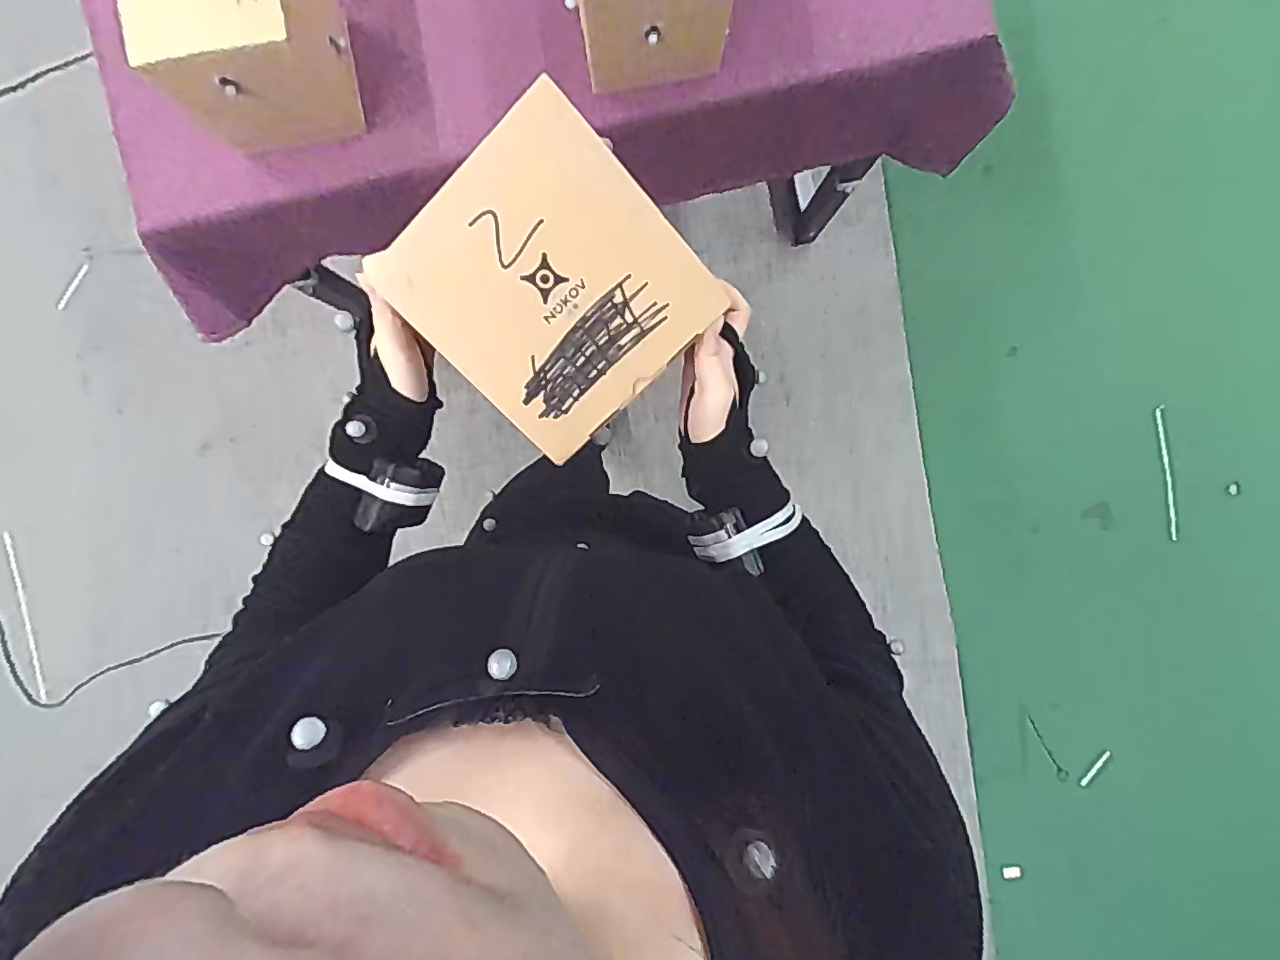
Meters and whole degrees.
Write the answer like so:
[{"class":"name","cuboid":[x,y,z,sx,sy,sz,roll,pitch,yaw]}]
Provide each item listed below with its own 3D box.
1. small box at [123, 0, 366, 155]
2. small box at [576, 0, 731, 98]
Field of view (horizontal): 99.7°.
[{"class":"small box","cuboid":[-0.471,-0.530,0.660,0.179,0.176,0.168,-9,91,0]},{"class":"small box","cuboid":[0.008,-0.612,0.659,0.179,0.176,0.168,-10,91,1]}]
